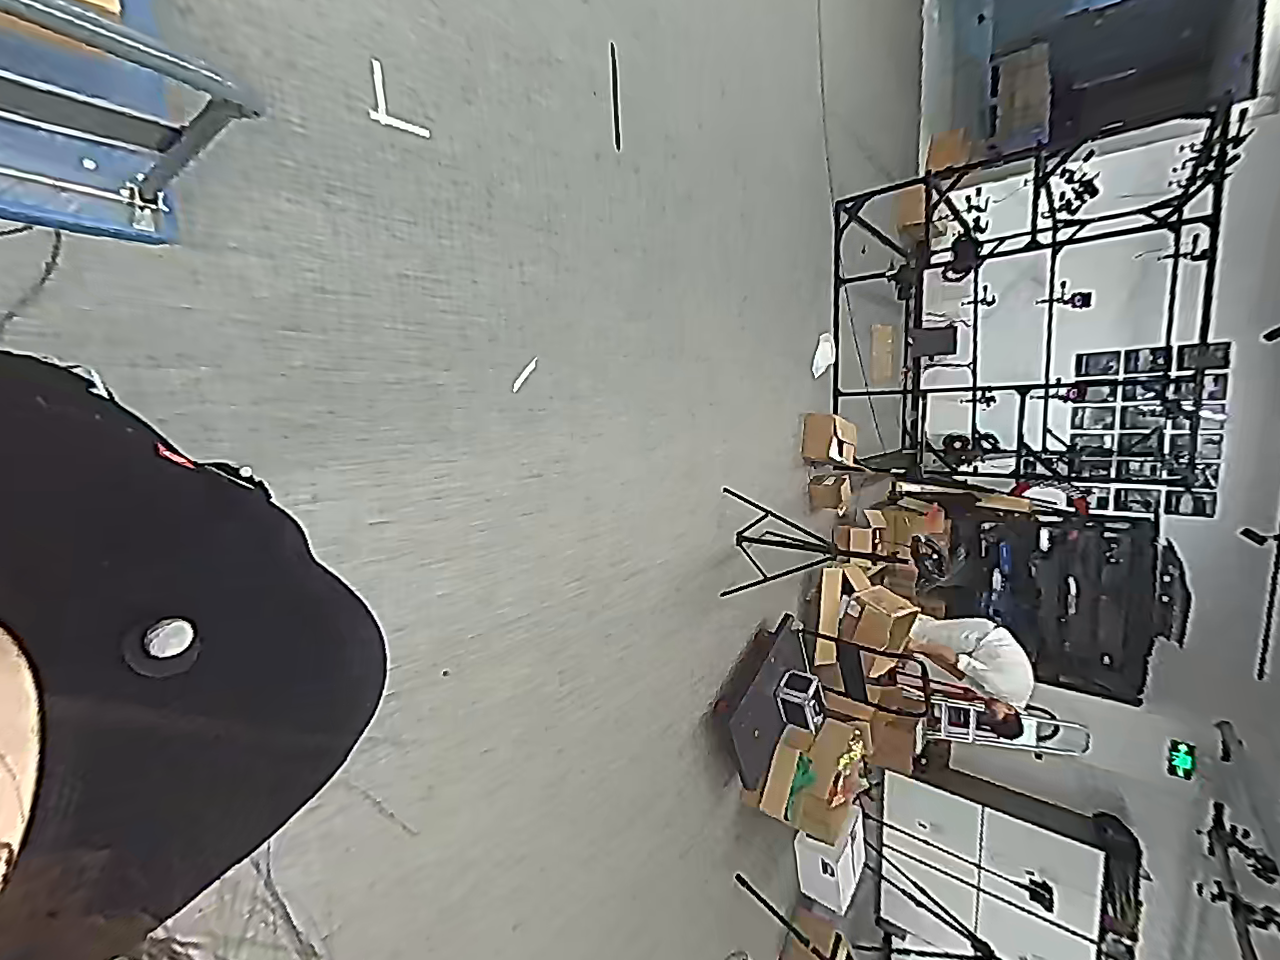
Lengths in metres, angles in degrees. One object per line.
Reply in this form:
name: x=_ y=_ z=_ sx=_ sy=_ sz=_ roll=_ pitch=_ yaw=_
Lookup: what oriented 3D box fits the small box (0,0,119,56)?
small box: x=-0.941 y=-0.798 z=0.825 sx=0.179 sy=0.176 sz=0.168 roll=-16 pitch=106 yaw=-49
